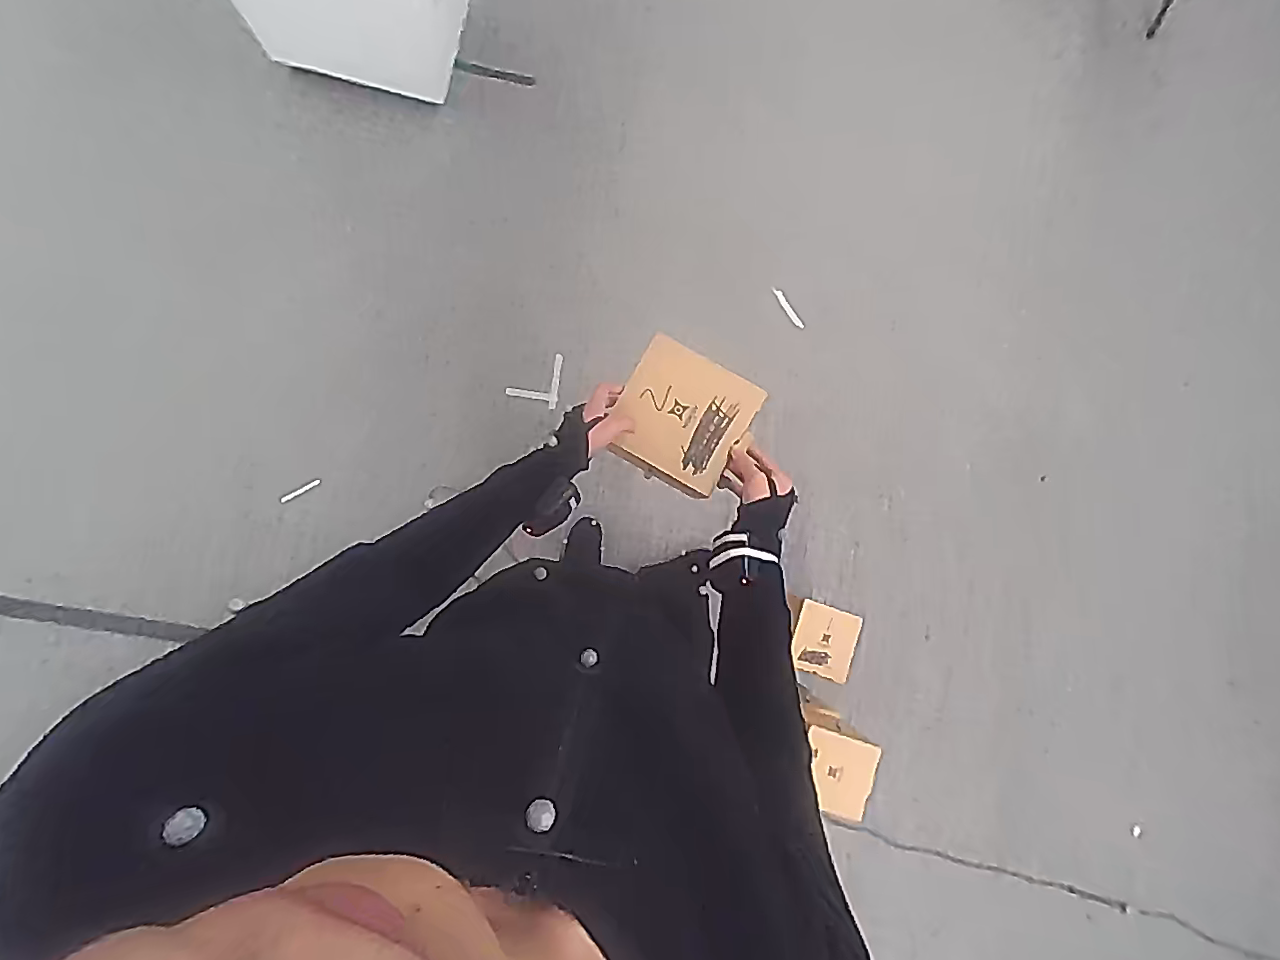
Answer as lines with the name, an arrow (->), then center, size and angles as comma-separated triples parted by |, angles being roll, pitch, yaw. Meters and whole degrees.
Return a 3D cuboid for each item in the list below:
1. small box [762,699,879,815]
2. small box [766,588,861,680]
small box -> 0.414, 0.635, 1.262 | 0.179, 0.176, 0.168 | 20, 84, -6
small box -> 0.453, 0.402, 1.442 | 0.168, 0.176, 0.179 | 20, 84, -5
